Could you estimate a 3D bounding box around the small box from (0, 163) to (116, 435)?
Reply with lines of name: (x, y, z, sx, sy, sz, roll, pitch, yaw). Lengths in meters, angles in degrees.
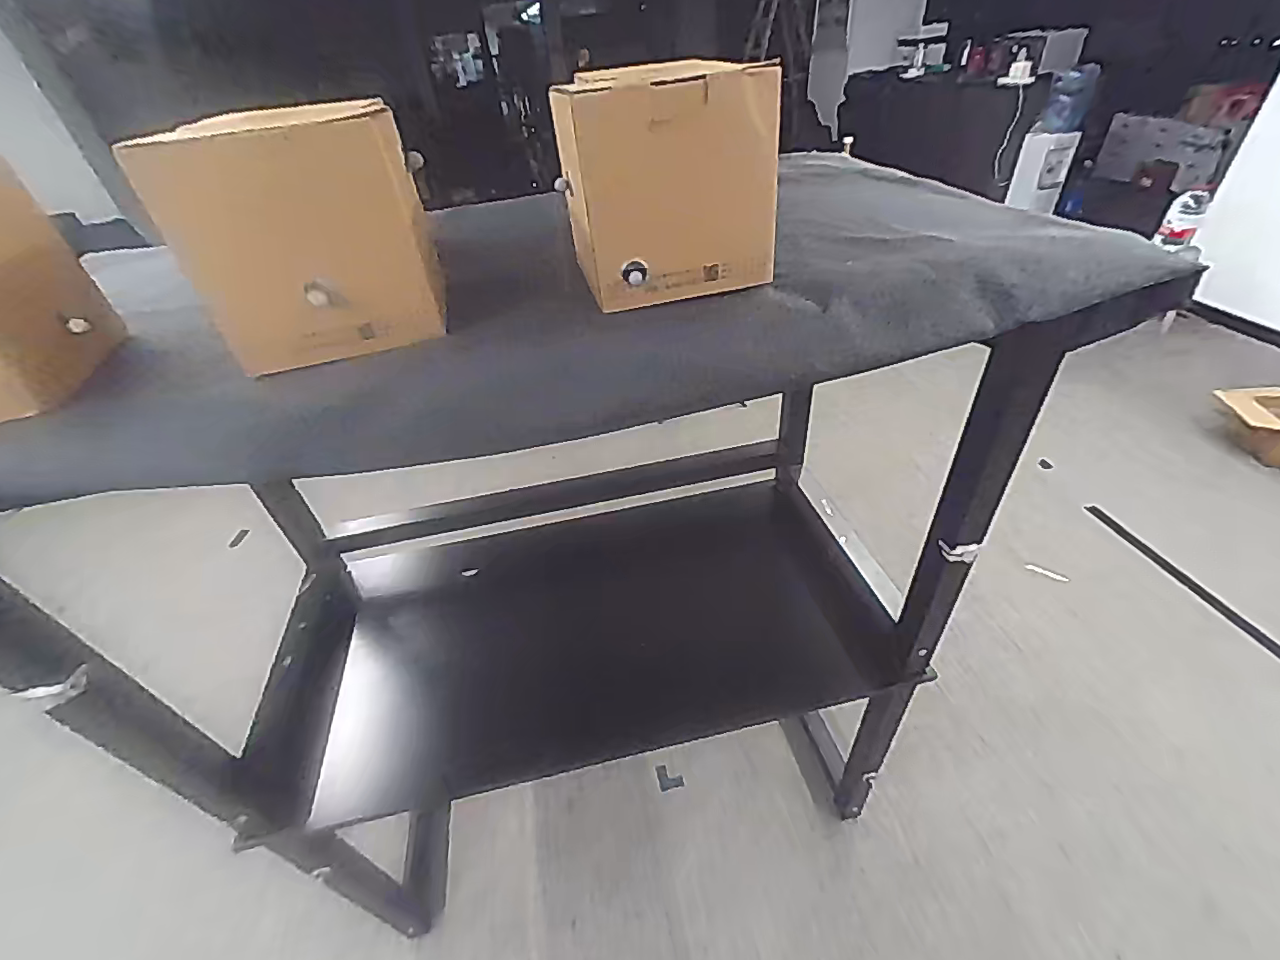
small box: (-0.581, -0.136, 0.426, 0.168, 0.176, 0.179, -16, 41, -12)

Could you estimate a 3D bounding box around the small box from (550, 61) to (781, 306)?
small box: (0.020, -0.275, 0.508, 0.168, 0.176, 0.179, -13, 38, -7)
